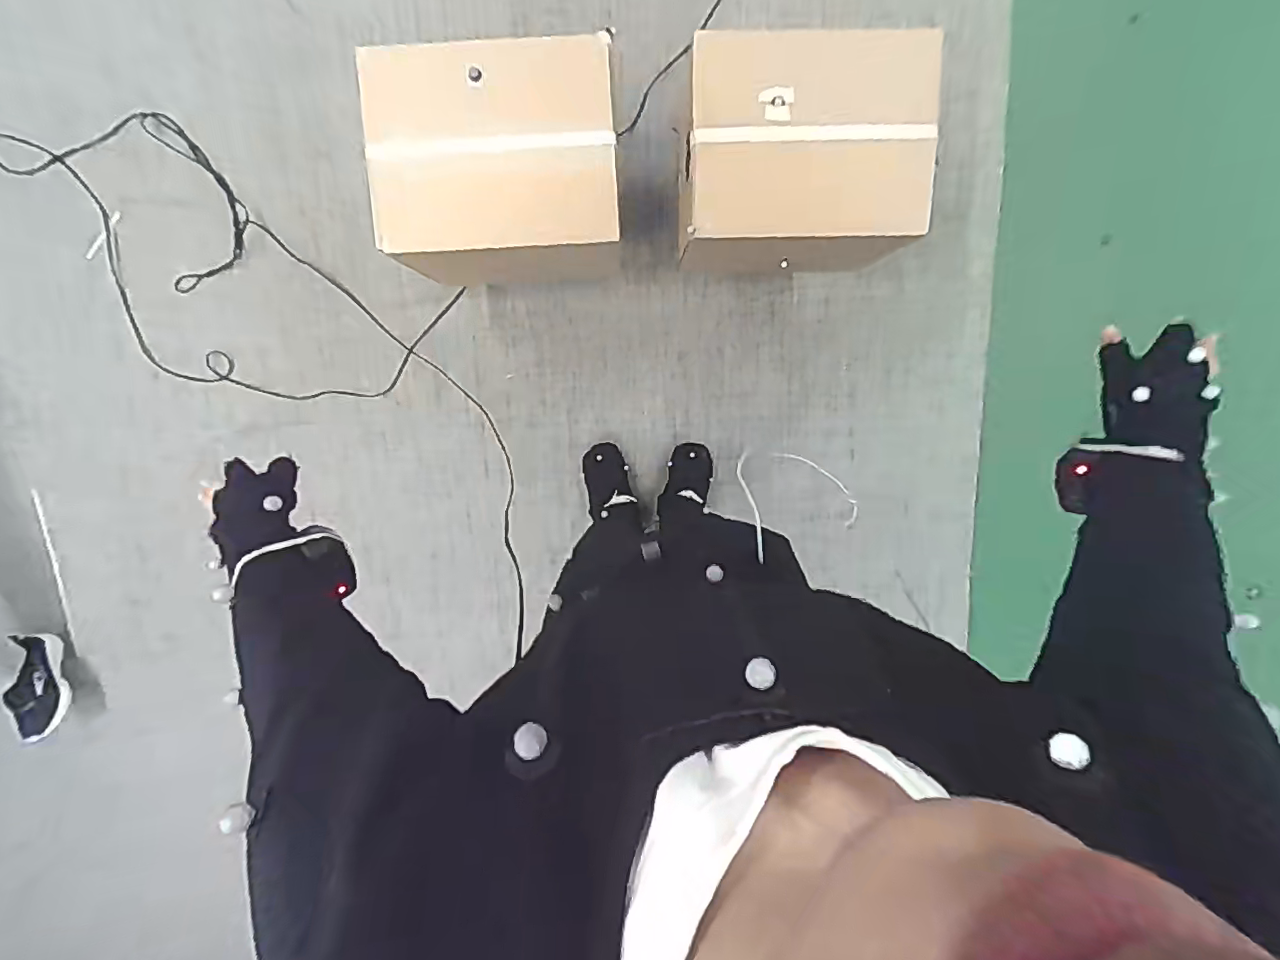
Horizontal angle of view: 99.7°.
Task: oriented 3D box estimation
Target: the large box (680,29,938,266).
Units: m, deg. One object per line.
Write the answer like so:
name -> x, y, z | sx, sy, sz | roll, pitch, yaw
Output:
large box -> 0.290, -0.605, 1.049 | 0.408, 0.320, 0.320 | 0, 100, 0
